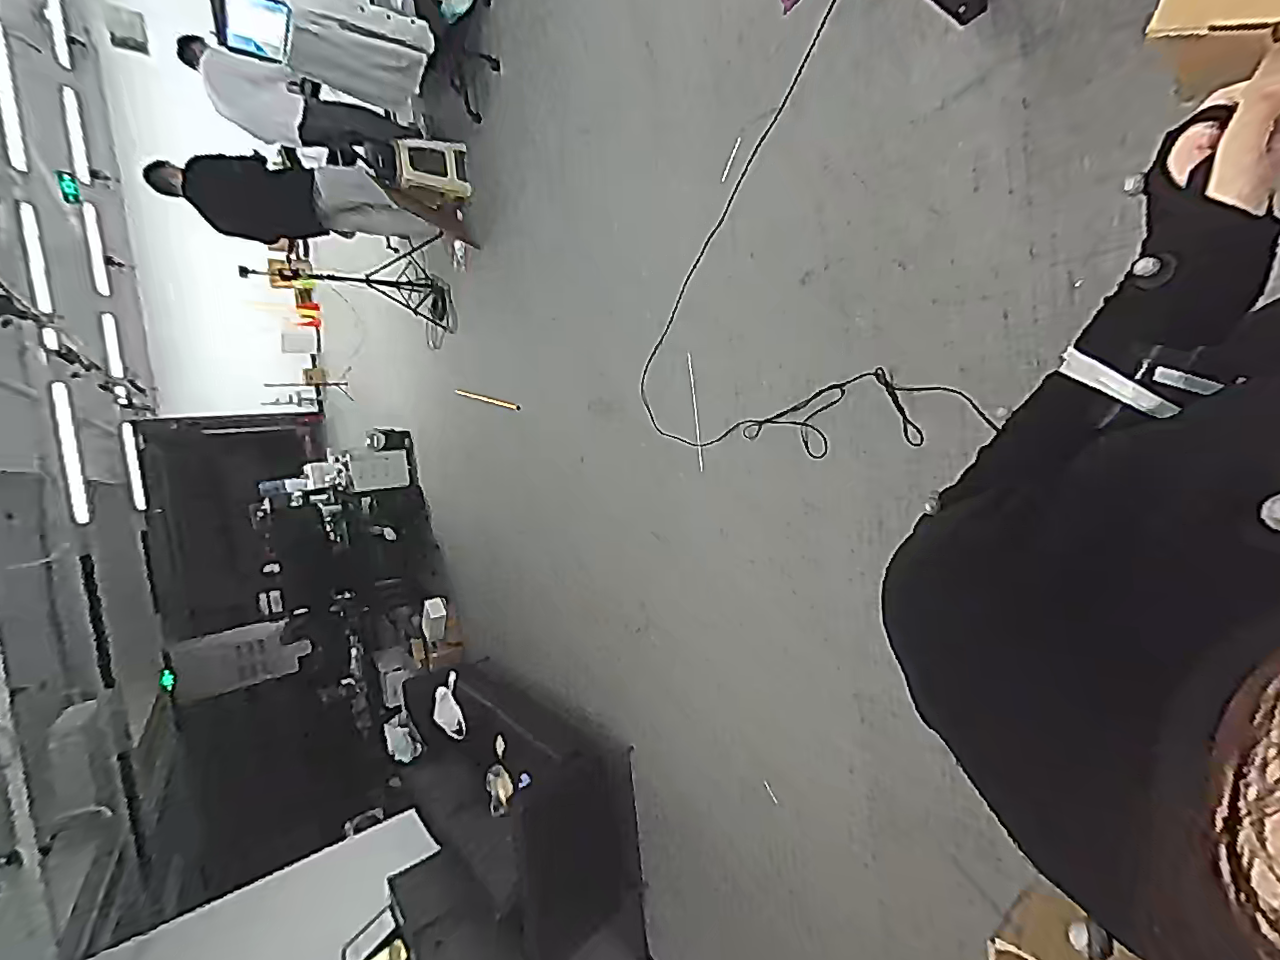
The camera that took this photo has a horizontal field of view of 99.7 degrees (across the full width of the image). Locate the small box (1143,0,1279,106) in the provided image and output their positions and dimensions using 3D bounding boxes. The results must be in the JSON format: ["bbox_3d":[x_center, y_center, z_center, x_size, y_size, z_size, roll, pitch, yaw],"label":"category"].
[{"bbox_3d":[0.453,-0.342,0.315,0.168,0.176,0.179,36,126,40],"label":"small box"}]
